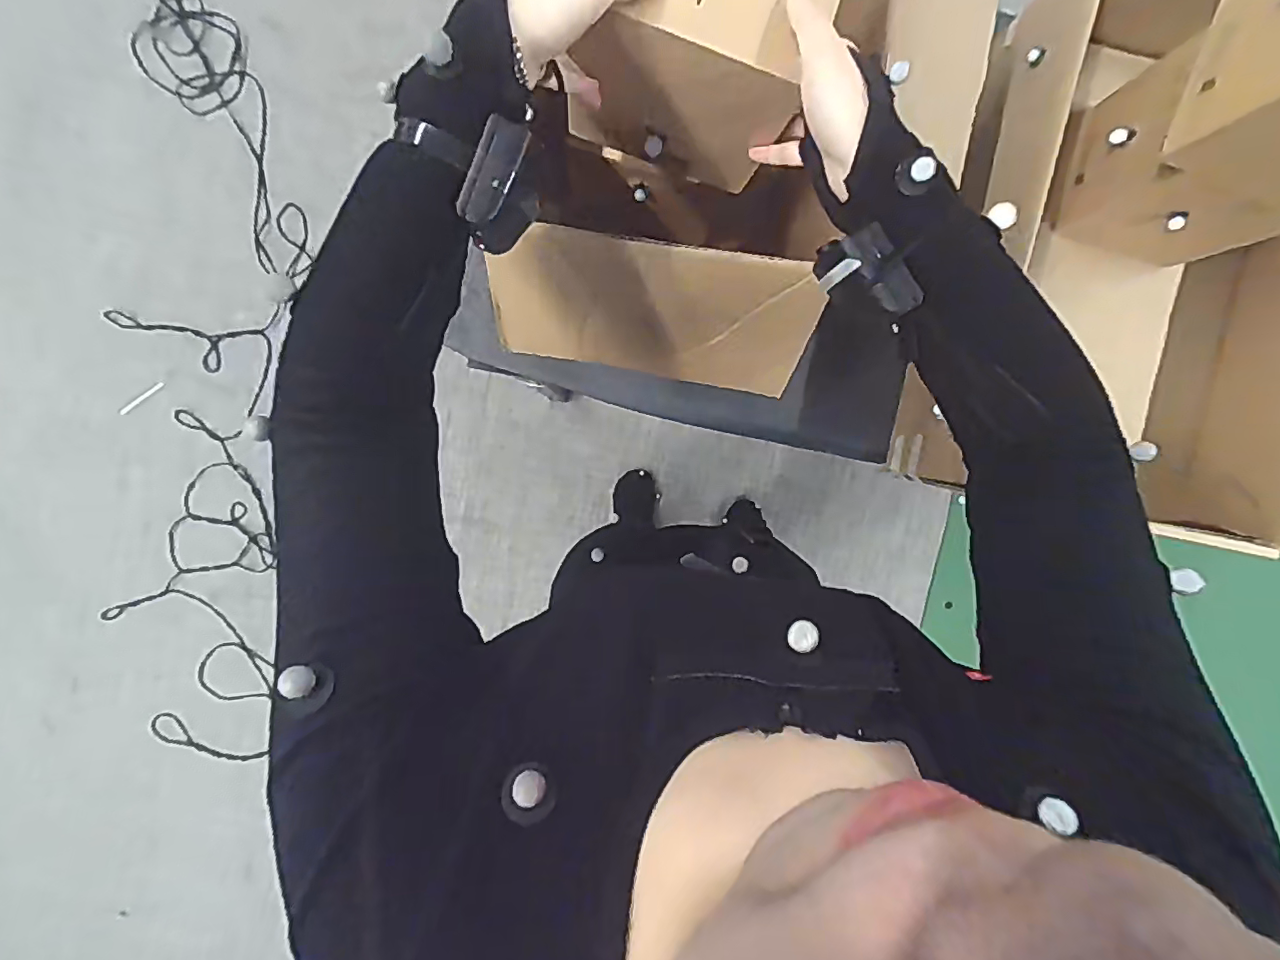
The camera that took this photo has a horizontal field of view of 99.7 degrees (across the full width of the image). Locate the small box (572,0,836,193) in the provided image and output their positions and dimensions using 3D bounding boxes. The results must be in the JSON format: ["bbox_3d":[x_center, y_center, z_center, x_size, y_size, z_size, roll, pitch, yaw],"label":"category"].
[{"bbox_3d":[0.046,-0.364,0.417,0.168,0.176,0.179,16,95,-9],"label":"small box"}]

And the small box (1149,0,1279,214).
[{"bbox_3d":[0.626,-0.368,0.480,0.179,0.176,0.168,18,94,-5],"label":"small box"}]
